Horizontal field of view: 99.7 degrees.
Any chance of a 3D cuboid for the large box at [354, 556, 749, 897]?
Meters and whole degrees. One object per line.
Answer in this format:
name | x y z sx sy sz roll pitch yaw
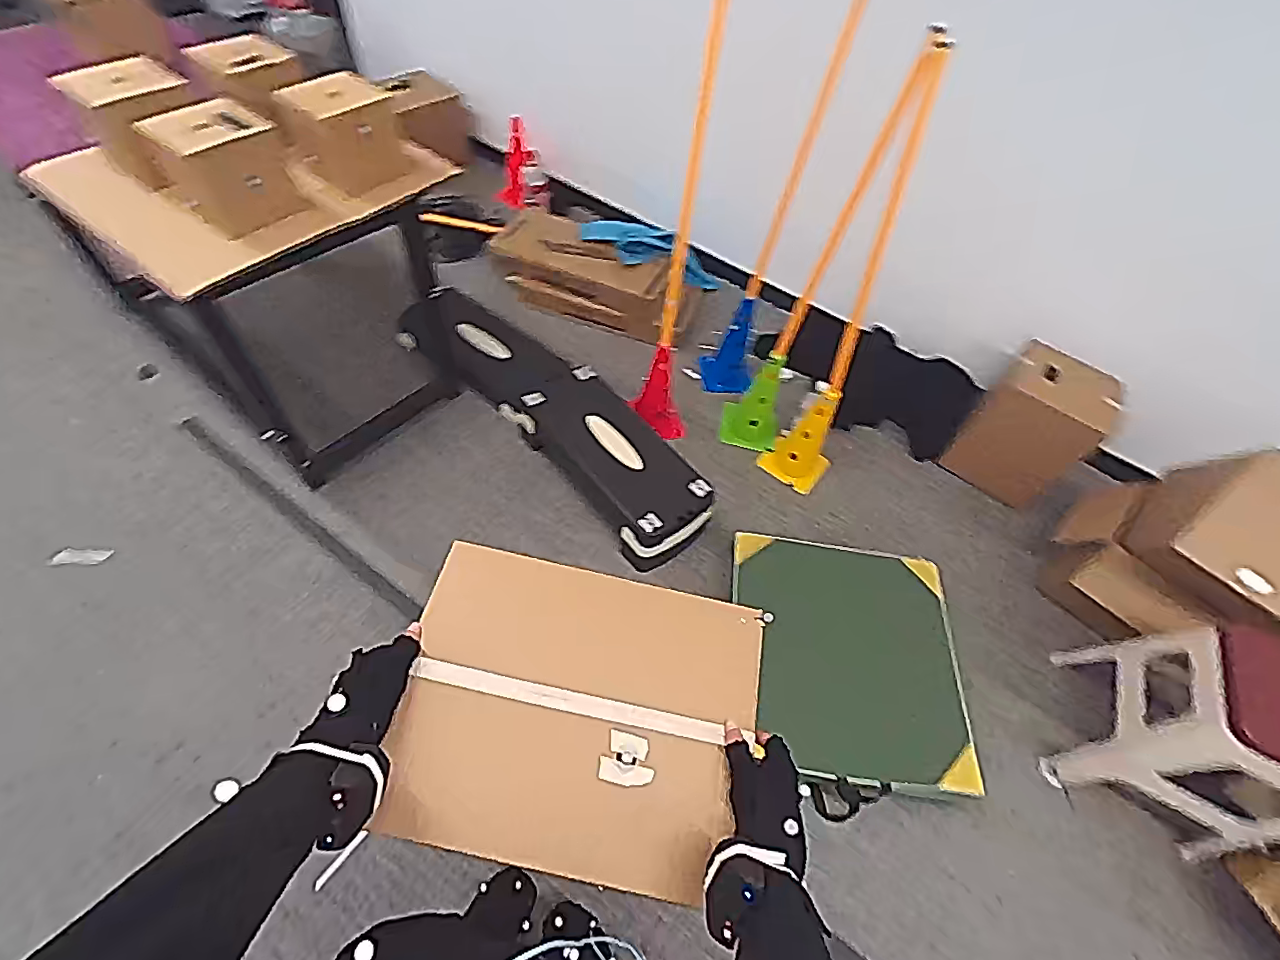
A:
large box | -0.094 0.340 0.751 0.408 0.320 0.320 12 58 -1
